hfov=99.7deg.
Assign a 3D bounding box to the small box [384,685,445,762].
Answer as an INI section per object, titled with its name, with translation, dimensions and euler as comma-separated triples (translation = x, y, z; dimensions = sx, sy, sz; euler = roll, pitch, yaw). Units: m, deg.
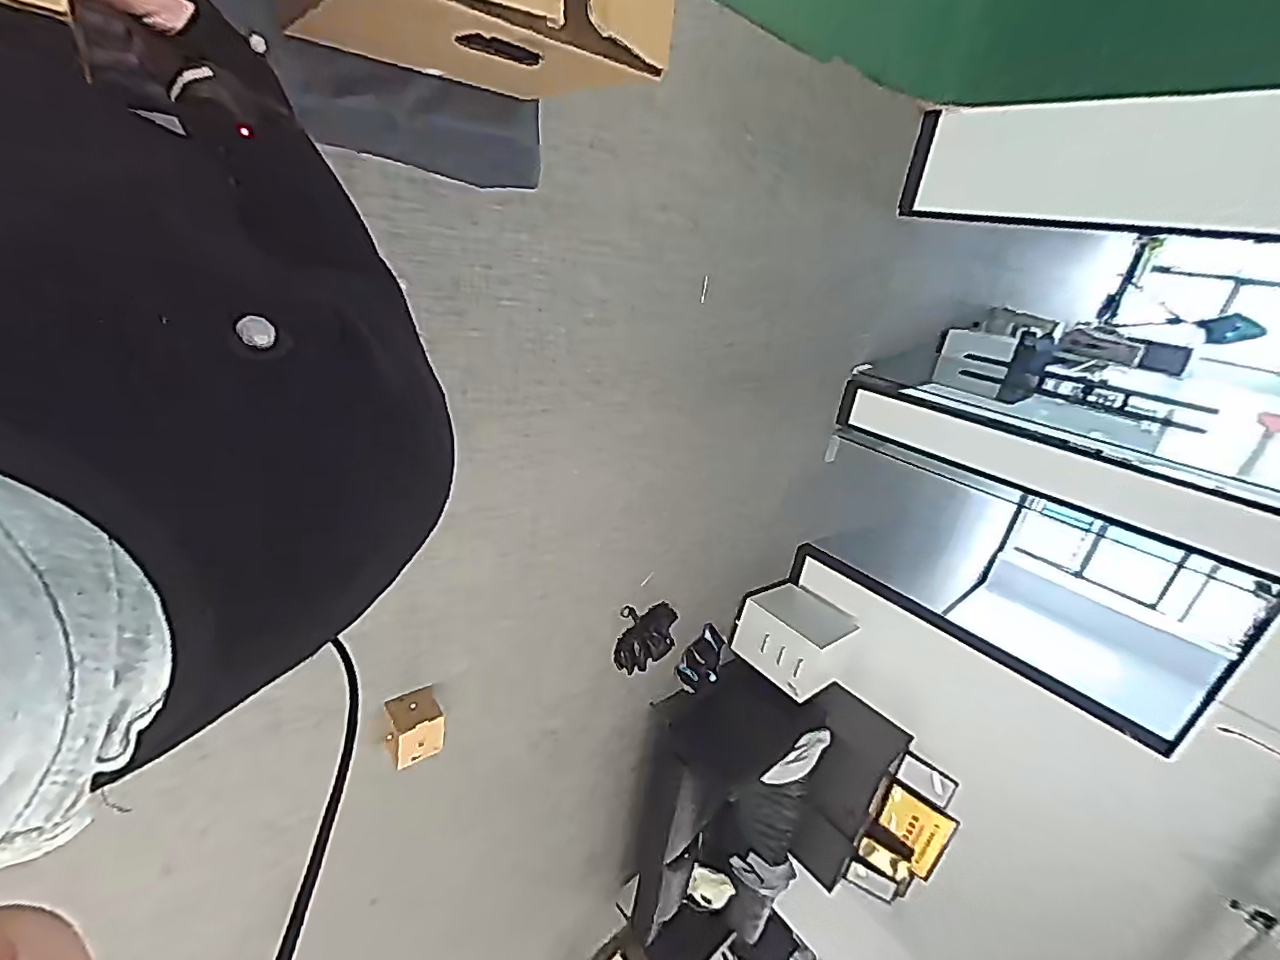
[small box]
translation = -0.840, 0.890, 2.006
dimensions = 0.168, 0.176, 0.179
euler = -10, 120, -42
